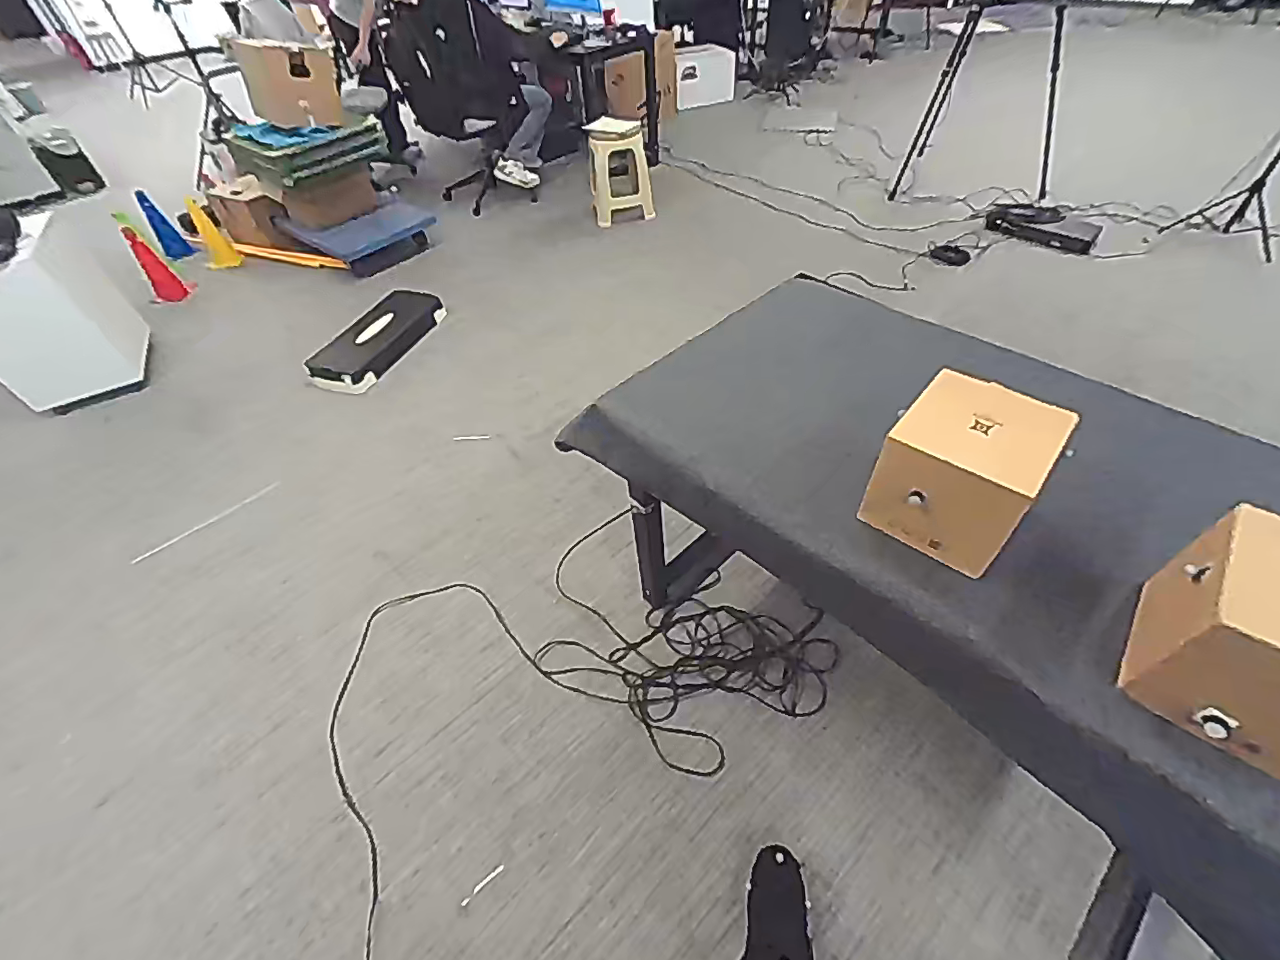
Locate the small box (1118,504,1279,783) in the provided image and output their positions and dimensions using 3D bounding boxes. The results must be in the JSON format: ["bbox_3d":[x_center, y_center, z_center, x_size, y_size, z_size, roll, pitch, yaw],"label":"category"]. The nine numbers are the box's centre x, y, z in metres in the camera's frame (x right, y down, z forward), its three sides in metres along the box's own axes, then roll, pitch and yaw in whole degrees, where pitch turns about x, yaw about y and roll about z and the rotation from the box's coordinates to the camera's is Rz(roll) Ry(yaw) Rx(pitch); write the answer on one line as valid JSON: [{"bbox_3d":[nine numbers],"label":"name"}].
[{"bbox_3d":[0.629,0.163,0.538,0.168,0.176,0.179,29,57,29],"label":"small box"}]

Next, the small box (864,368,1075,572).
[{"bbox_3d":[0.418,-0.012,0.714,0.168,0.176,0.179,31,56,29],"label":"small box"}]
